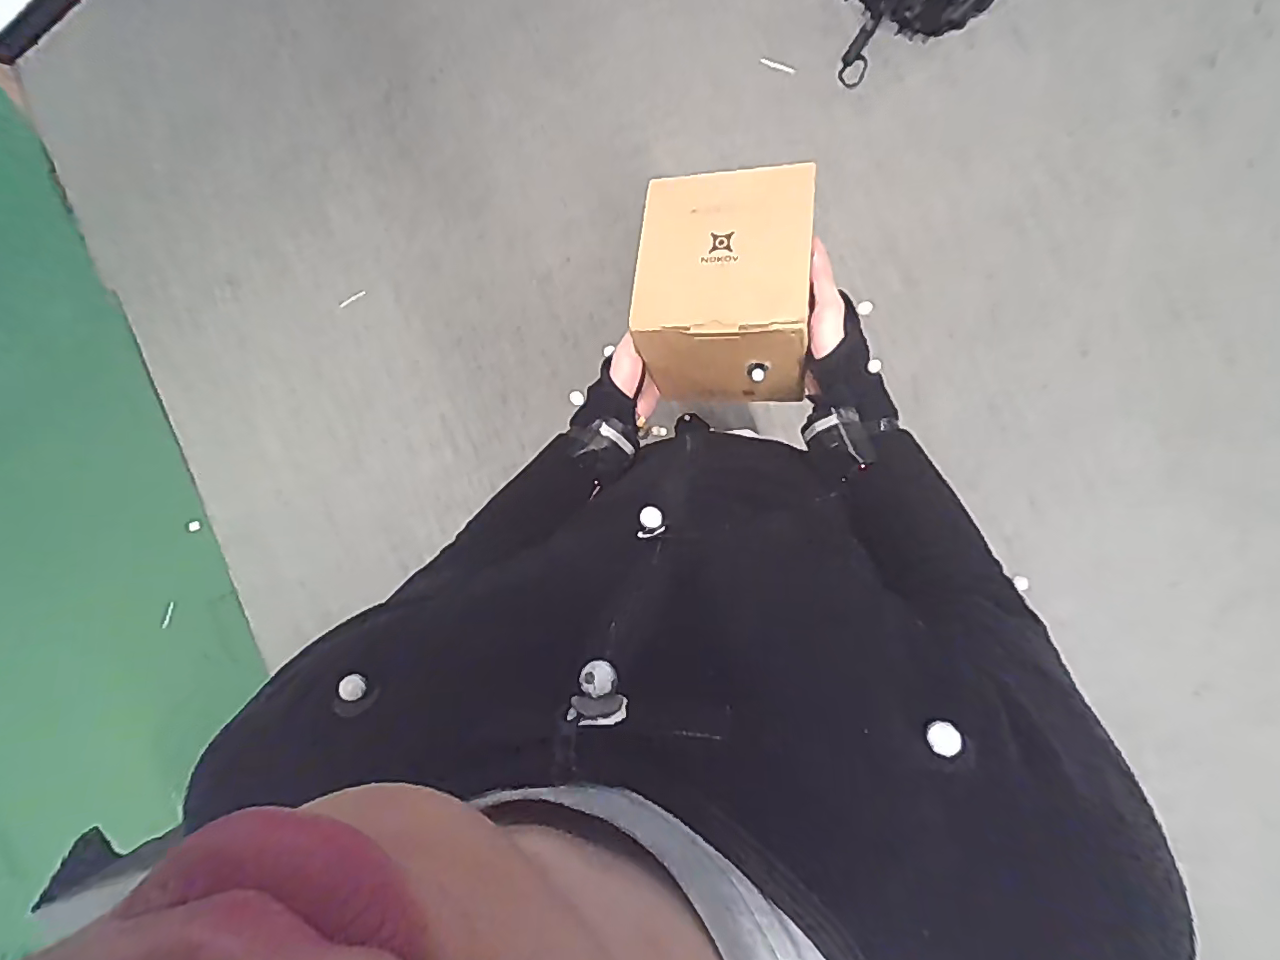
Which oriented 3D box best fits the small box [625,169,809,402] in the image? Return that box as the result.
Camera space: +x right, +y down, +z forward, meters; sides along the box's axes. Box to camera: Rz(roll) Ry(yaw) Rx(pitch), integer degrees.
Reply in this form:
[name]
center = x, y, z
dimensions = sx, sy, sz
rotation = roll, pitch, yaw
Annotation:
[small box]
center = 0.093, -0.195, 0.588
dimensions = 0.168, 0.176, 0.179
rotation = 3, 73, 15
